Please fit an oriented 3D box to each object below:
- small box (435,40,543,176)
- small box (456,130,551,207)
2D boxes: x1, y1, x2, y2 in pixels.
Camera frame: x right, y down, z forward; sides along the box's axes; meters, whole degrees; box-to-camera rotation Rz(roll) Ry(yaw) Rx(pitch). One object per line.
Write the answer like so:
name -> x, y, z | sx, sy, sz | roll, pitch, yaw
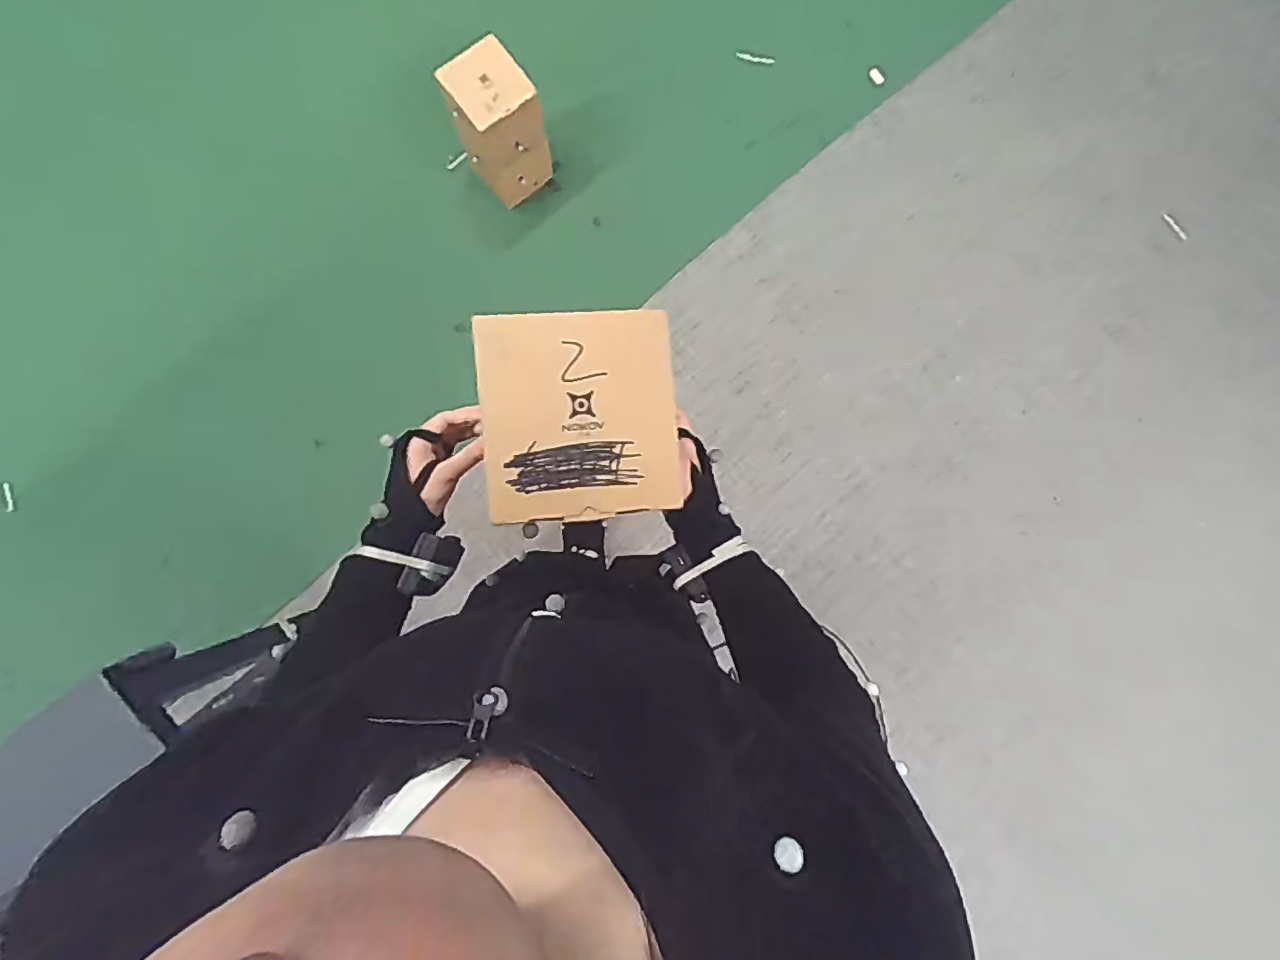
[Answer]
small box -> -0.356, -0.888, 1.308 | 0.168, 0.176, 0.179 | -38, 90, -4
small box -> -0.362, -0.881, 1.473 | 0.168, 0.176, 0.179 | -40, 89, -4
